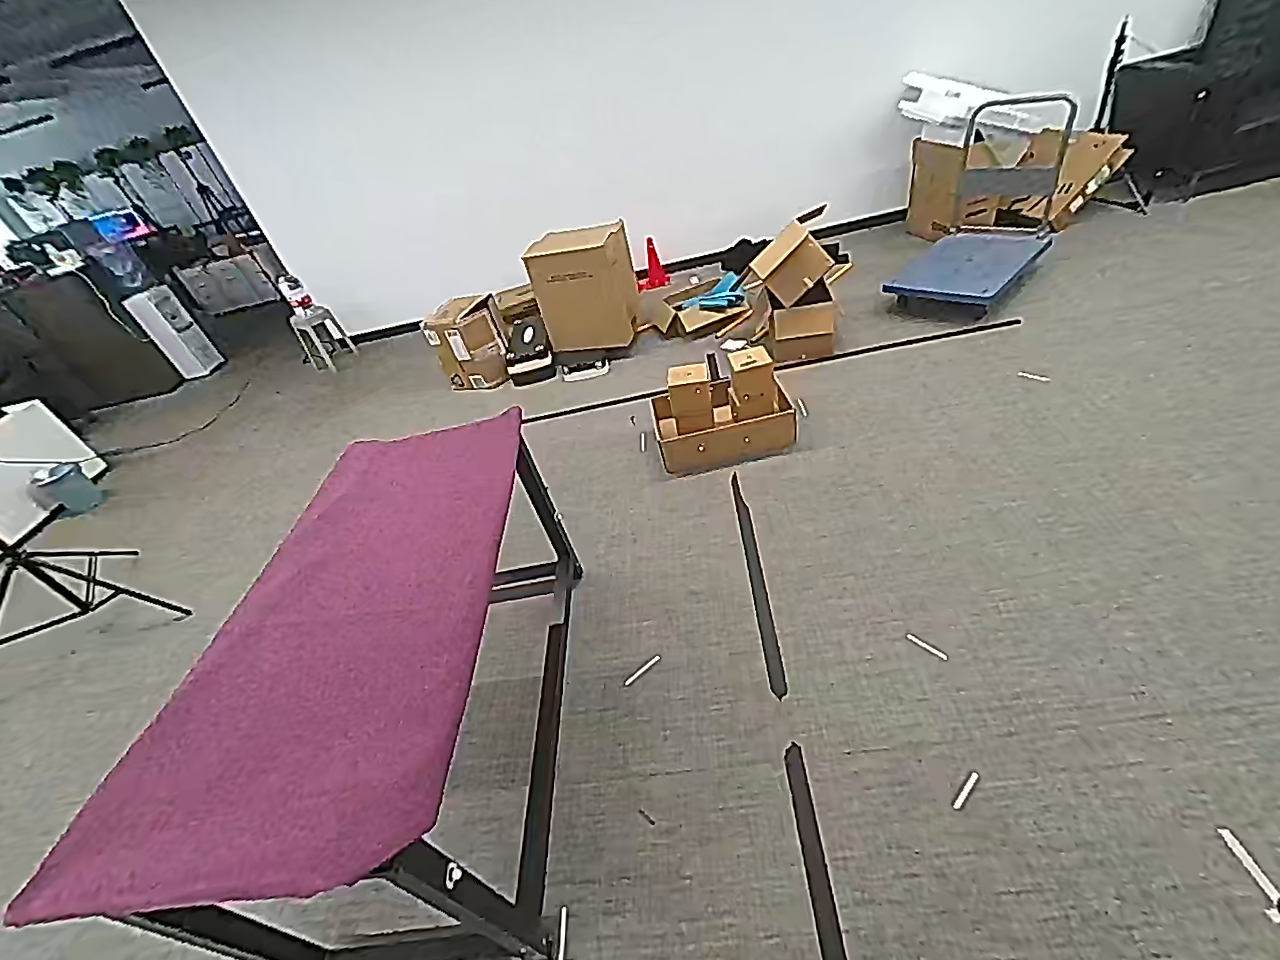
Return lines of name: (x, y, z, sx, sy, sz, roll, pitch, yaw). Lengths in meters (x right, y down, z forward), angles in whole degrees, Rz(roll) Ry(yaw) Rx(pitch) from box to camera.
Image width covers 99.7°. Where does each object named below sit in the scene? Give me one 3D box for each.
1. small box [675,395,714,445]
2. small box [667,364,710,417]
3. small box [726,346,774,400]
small box: (0.258, -0.285, 2.542, 0.168, 0.176, 0.179, -5, 39, 11)
small box: (0.222, -0.400, 2.427, 0.179, 0.176, 0.168, -7, 38, 9)
small box: (0.493, -0.469, 2.414, 0.168, 0.176, 0.179, -13, 37, 4)
